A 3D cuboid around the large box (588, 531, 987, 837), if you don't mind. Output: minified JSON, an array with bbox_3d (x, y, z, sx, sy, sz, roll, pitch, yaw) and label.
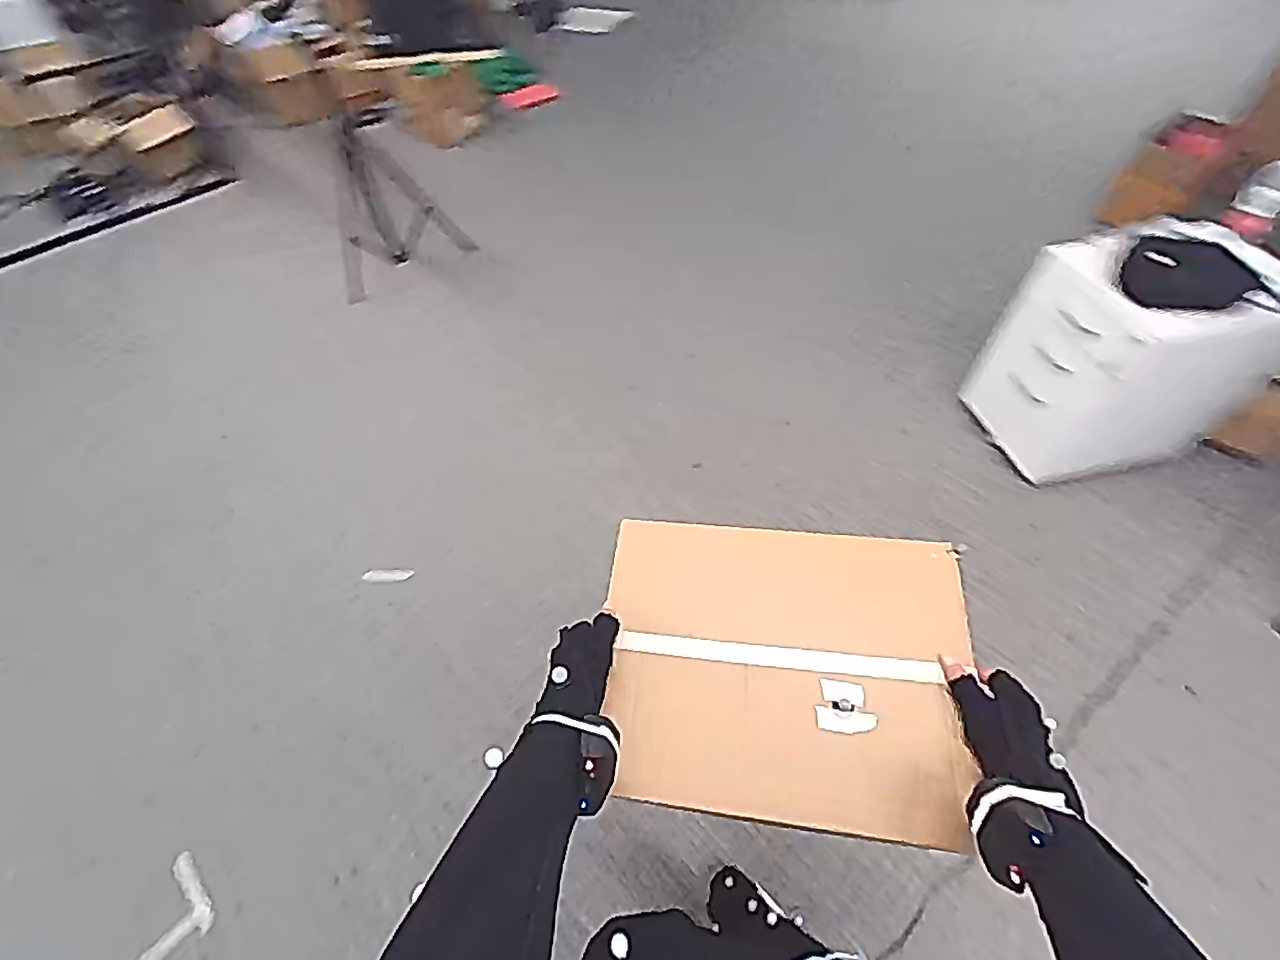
[{"bbox_3d":[0.166,0.282,0.746,0.408,0.320,0.320,3,60,8],"label":"large box"}]
